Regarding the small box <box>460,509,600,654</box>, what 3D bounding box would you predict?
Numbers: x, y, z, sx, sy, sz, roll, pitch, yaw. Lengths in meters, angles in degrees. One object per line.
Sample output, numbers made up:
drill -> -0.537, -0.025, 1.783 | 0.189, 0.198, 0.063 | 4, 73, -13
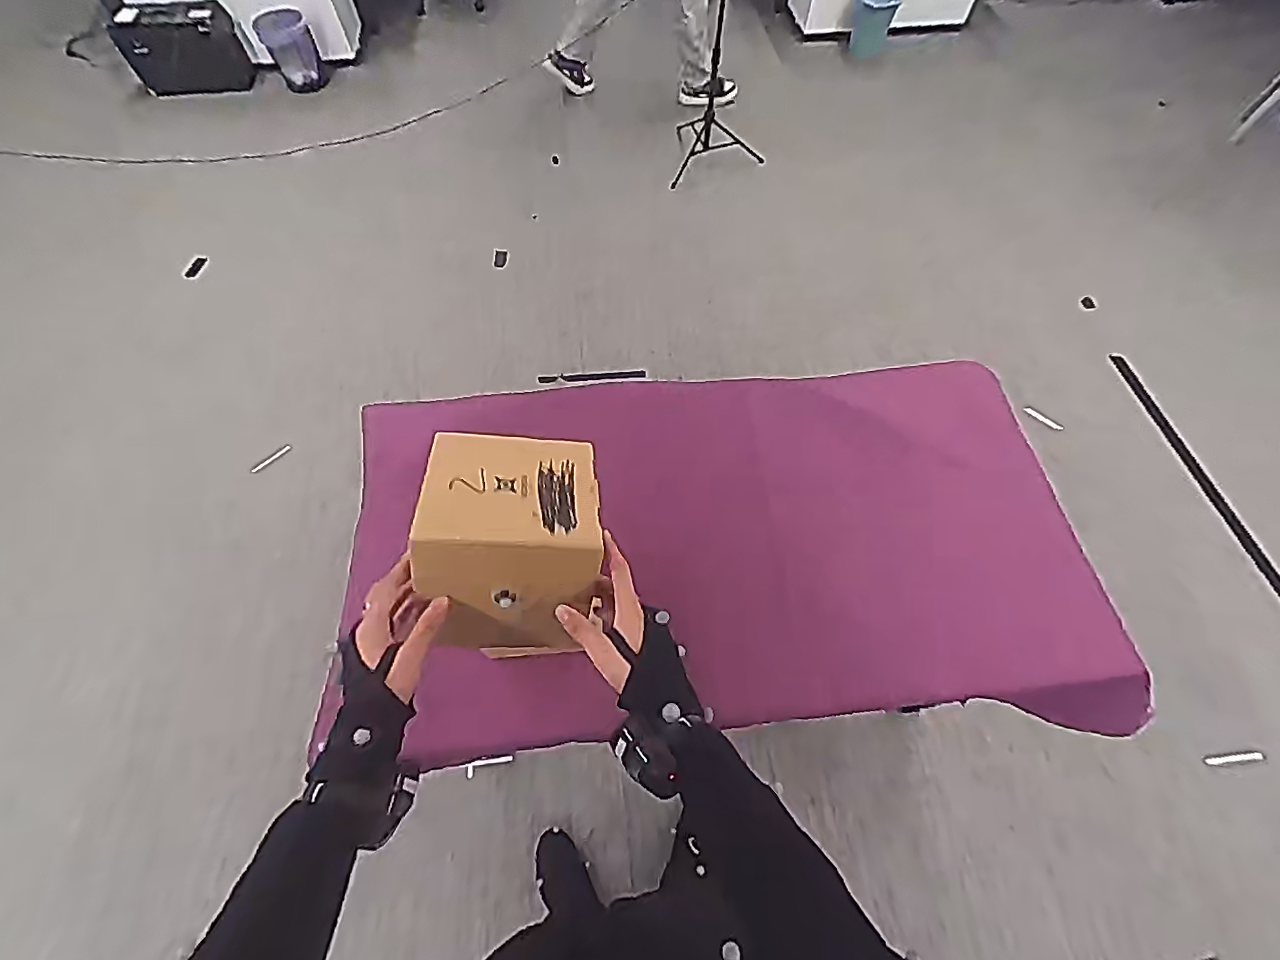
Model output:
small box -> -0.148, 0.154, 0.794 | 0.179, 0.176, 0.168 | -3, 61, -2
